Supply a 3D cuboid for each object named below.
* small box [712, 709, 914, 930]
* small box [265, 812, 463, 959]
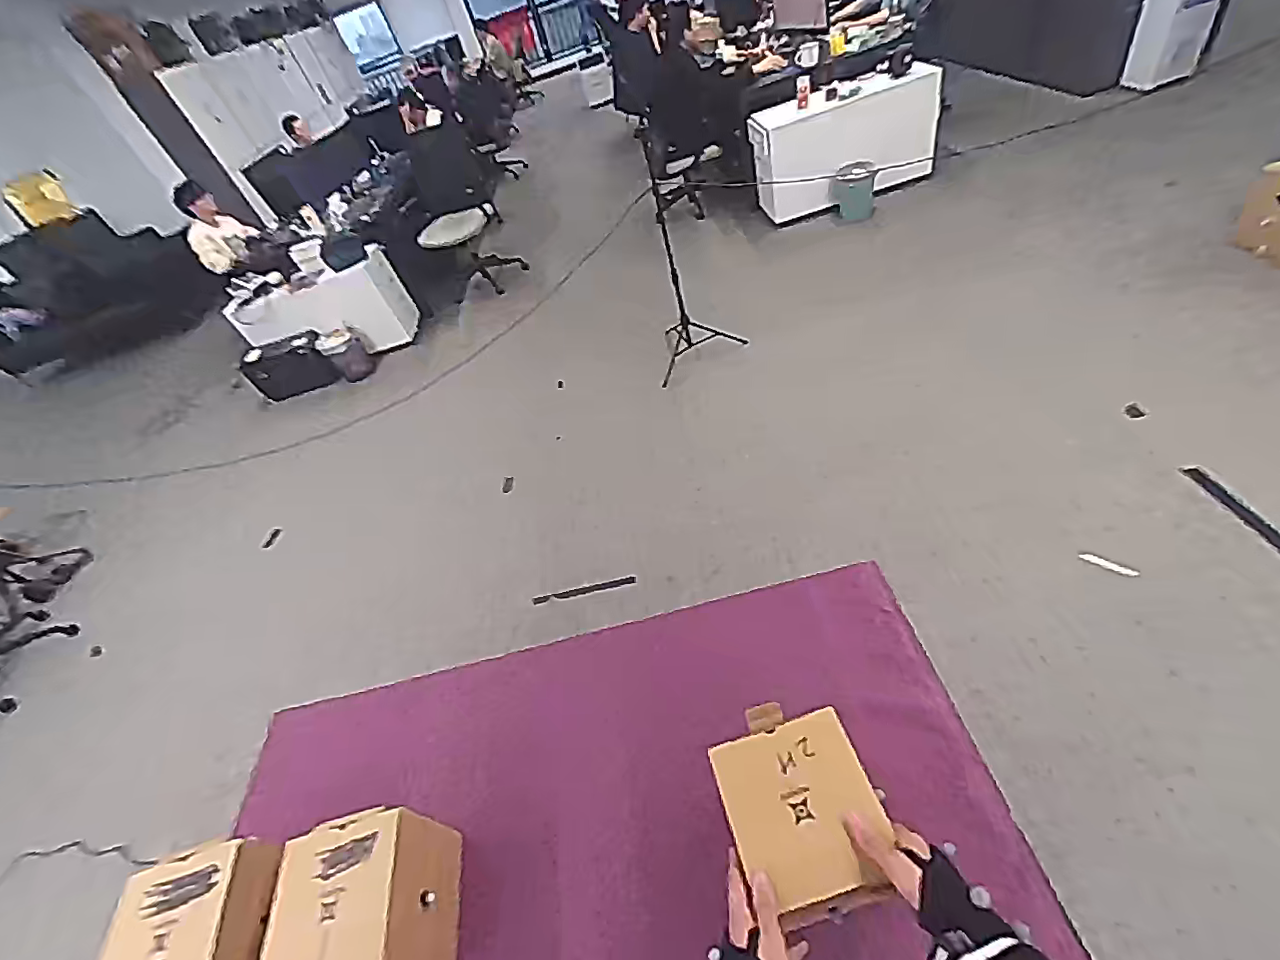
[{"bbox_3d":[0.203,0.415,0.654,0.168,0.176,0.179,-20,44,2],"label":"small box"},{"bbox_3d":[-0.351,0.577,0.717,0.168,0.176,0.179,-19,45,3],"label":"small box"}]
